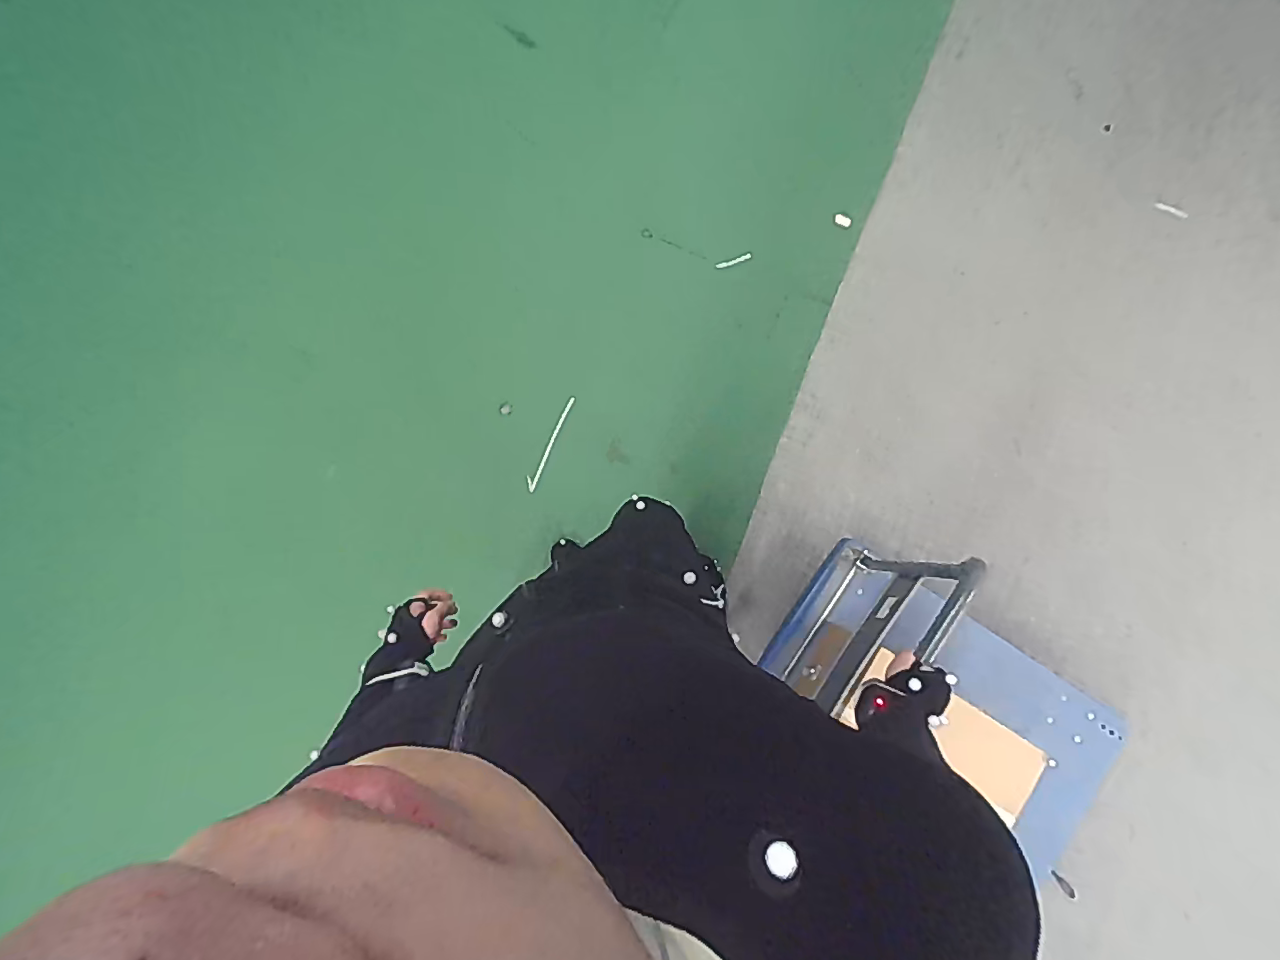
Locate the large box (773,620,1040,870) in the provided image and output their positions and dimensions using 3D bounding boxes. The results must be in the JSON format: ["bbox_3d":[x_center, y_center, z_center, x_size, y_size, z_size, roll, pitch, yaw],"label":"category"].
[{"bbox_3d":[0.591,0.585,1.277,0.408,0.320,0.320,33,86,3],"label":"large box"}]
